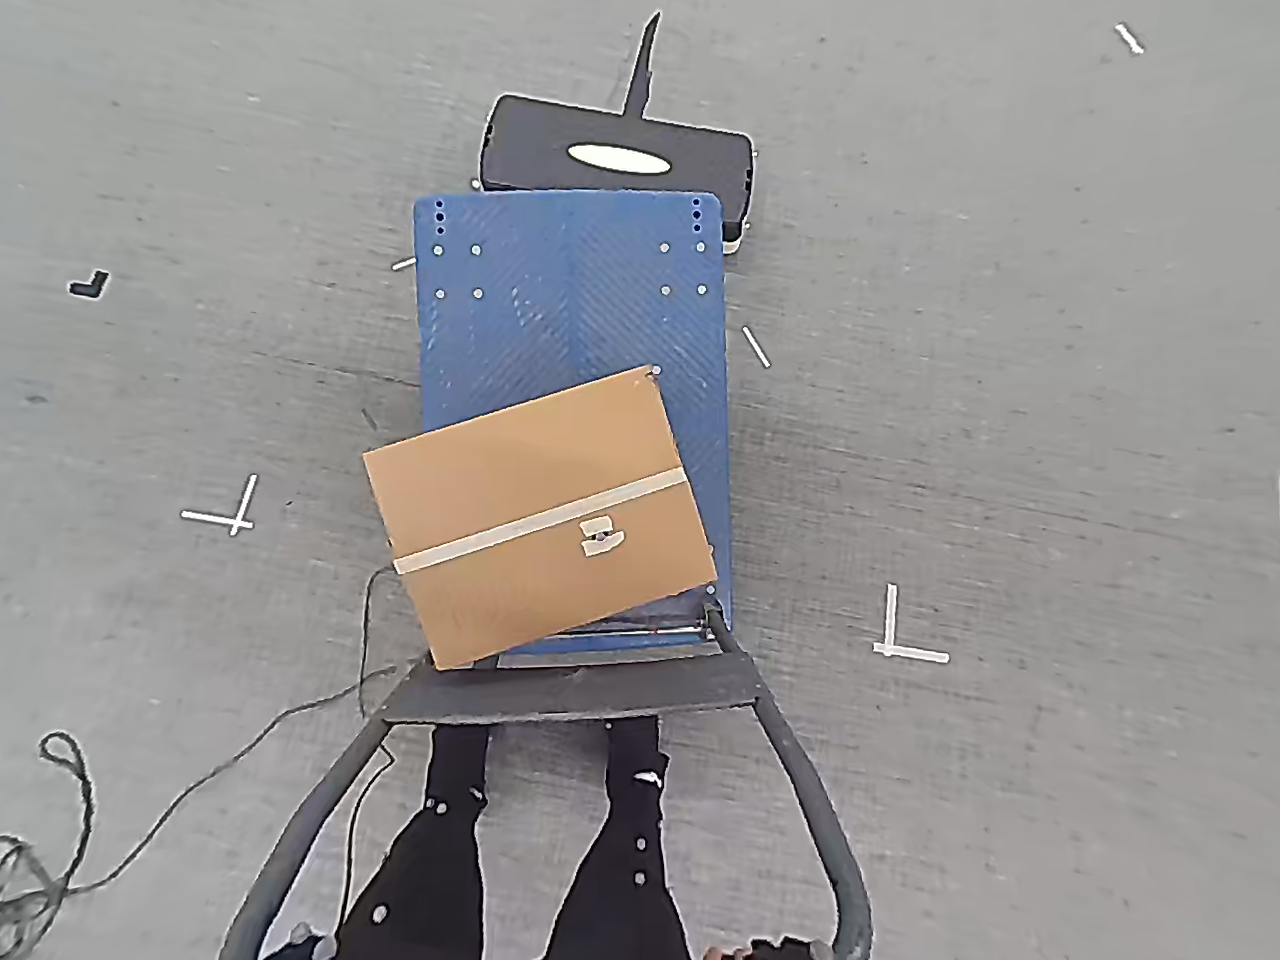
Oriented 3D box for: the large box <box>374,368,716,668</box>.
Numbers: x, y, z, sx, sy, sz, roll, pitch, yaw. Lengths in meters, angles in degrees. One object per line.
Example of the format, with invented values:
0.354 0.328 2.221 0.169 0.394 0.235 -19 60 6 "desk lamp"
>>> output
-0.137 0.048 0.887 0.408 0.320 0.320 -18 94 -4 "large box"
